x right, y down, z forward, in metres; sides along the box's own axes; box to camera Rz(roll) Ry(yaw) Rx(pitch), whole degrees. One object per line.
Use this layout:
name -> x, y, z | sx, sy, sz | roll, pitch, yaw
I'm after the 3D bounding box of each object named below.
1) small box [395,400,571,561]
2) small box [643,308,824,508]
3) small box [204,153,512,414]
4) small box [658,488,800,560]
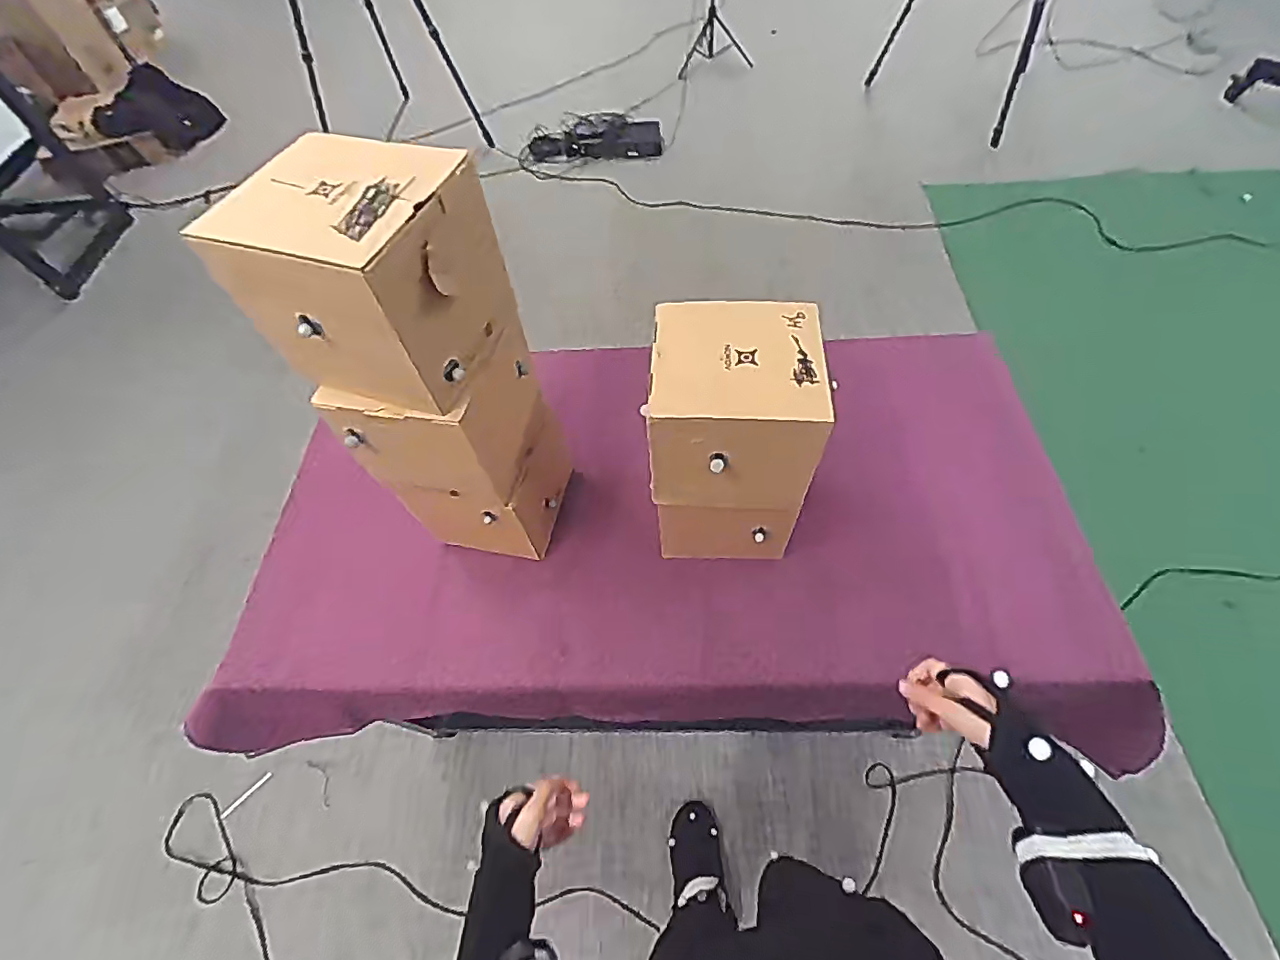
small box -> -0.216, 0.004, 0.799 | 0.179, 0.176, 0.168 | 8, 58, 8
small box -> 0.102, -0.078, 0.630 | 0.179, 0.176, 0.168 | 1, 57, 6
small box -> -0.249, -0.187, 0.533 | 0.179, 0.176, 0.168 | 14, 58, 13
small box -> 0.117, 0.005, 0.771 | 0.179, 0.176, 0.168 | -1, 56, 5
